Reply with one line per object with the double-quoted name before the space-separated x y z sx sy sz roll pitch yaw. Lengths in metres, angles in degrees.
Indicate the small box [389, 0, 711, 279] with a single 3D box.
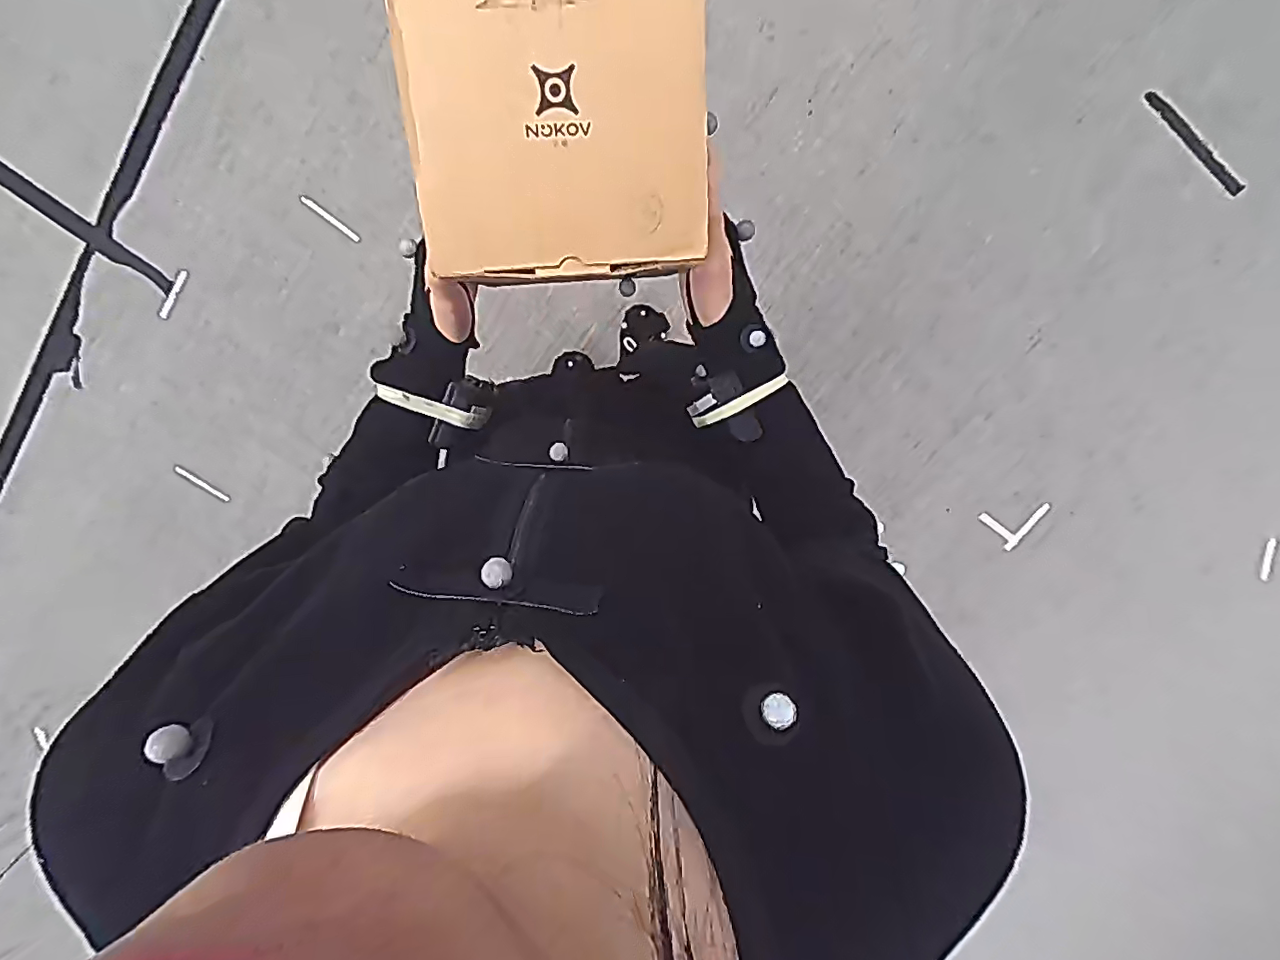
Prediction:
"small box" -0.048 -0.232 0.365 0.168 0.176 0.179 -5 108 -4
